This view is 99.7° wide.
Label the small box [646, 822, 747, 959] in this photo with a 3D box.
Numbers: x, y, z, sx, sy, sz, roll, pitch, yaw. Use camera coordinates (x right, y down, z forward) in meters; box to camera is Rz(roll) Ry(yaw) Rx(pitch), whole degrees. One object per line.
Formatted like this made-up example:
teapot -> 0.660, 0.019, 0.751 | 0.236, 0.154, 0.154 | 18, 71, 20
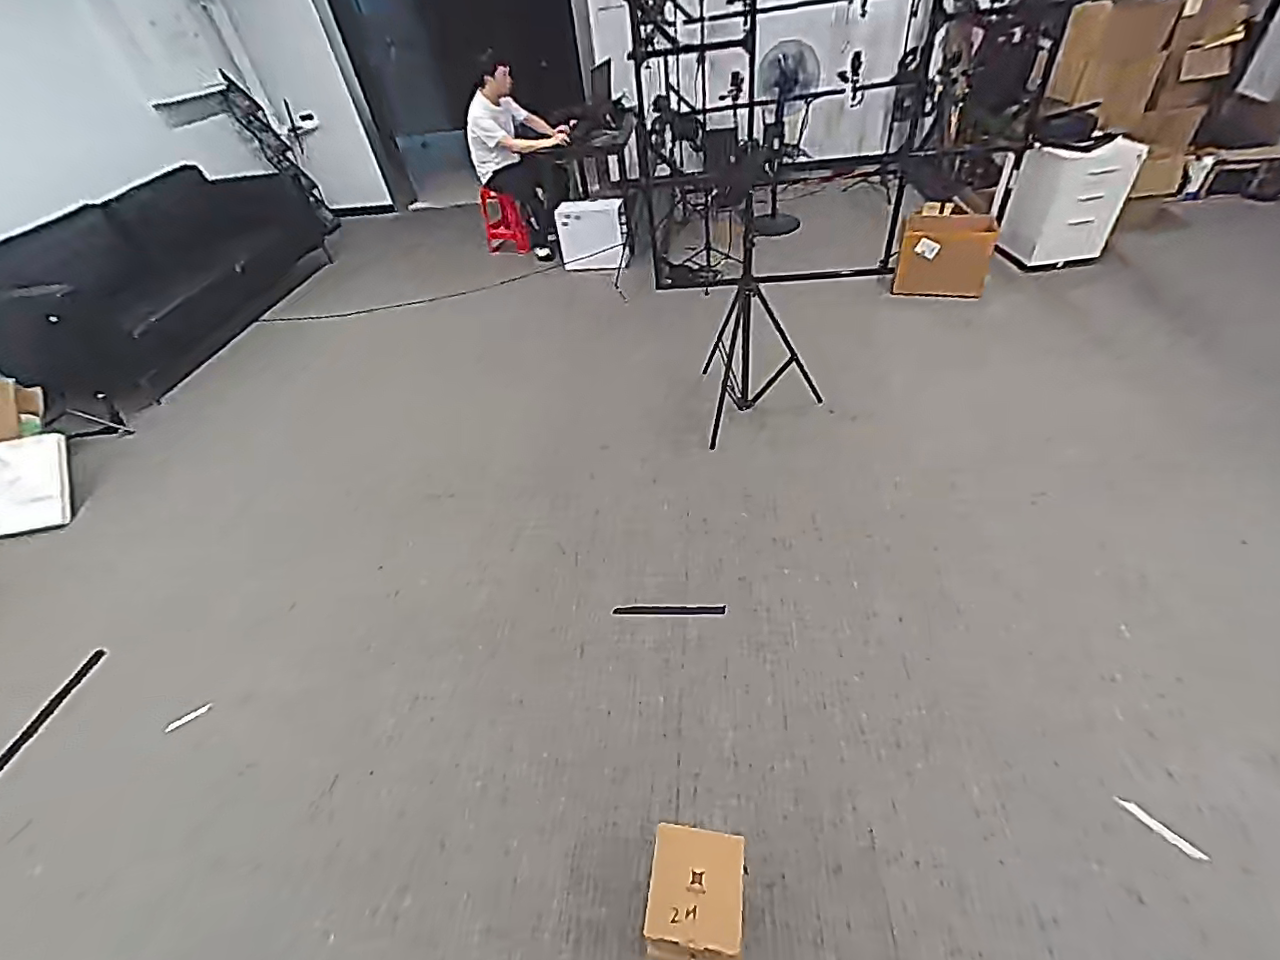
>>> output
small box -> 0.113, 0.777, 1.014 | 0.168, 0.176, 0.179 | 1, 44, 13
